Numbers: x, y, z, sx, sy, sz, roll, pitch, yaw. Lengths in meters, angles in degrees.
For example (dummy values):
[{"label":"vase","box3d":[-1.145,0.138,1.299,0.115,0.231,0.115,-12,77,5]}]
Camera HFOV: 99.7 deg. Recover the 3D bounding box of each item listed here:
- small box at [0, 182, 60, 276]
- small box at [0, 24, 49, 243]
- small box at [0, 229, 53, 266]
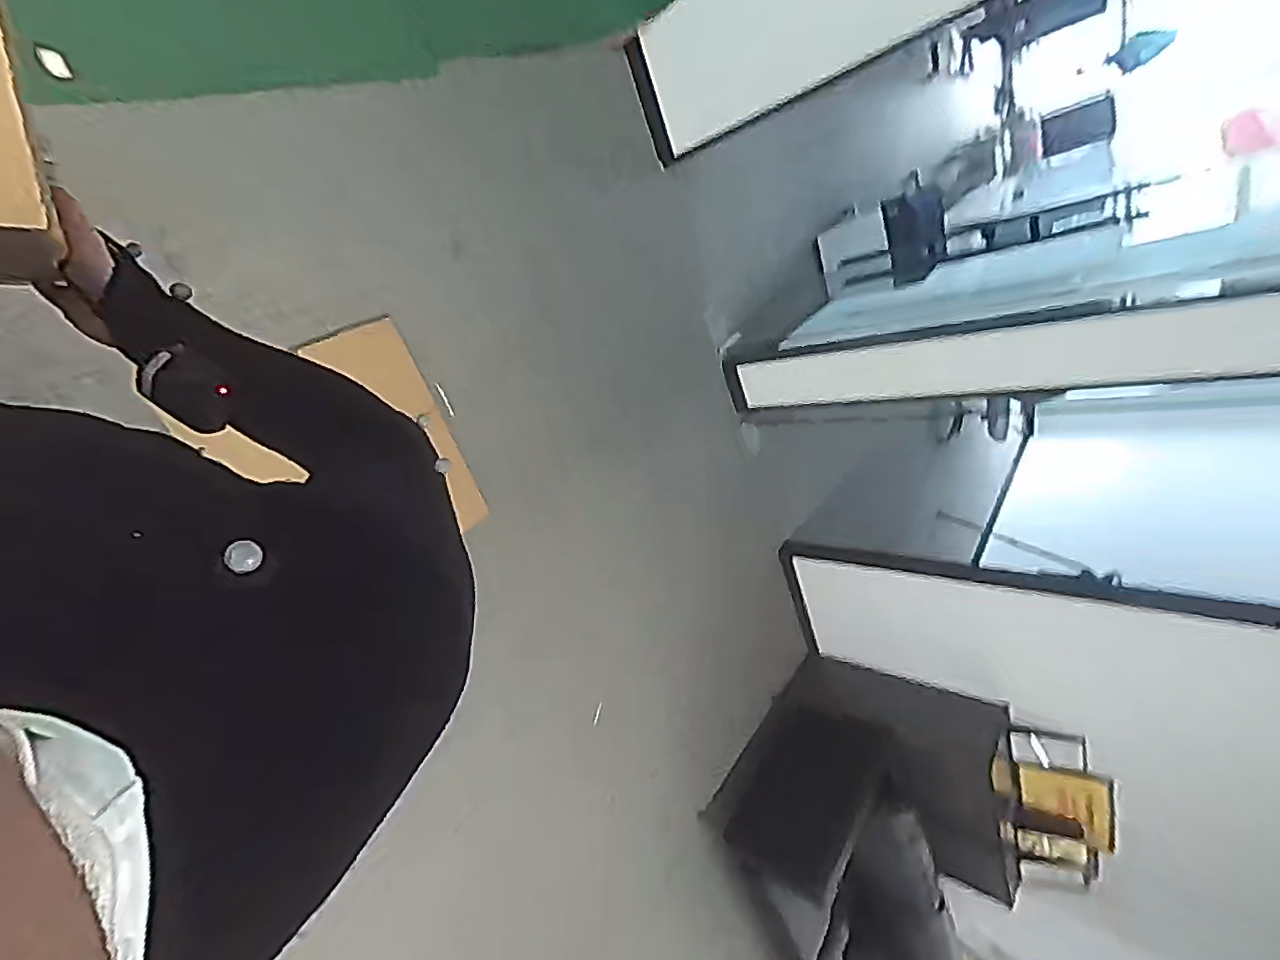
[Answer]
[{"label":"small box","box3d":[-0.670,-0.289,0.491,0.168,0.176,0.179,-16,112,-42]},{"label":"small box","box3d":[-0.438,-0.225,0.269,0.168,0.176,0.179,-14,110,-42]},{"label":"small box","box3d":[-0.554,-0.253,0.378,0.168,0.176,0.179,-15,110,-42]}]
